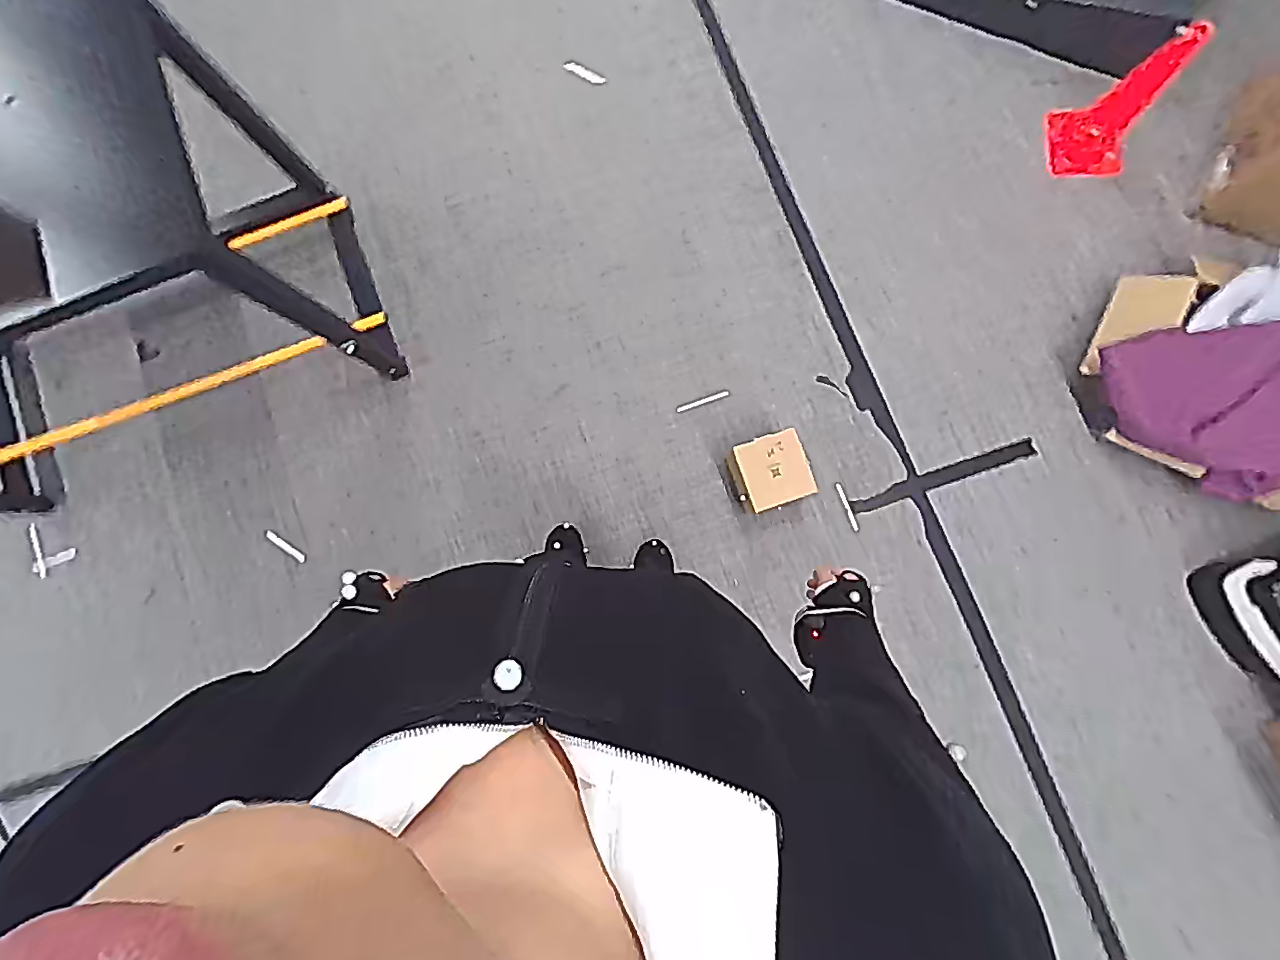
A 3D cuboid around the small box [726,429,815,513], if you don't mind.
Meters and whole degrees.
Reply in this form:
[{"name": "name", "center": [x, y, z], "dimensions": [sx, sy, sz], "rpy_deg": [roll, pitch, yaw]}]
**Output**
[{"name": "small box", "center": [0.338, -0.018, 1.430], "dimensions": [0.168, 0.176, 0.179], "rpy_deg": [-18, 83, 1]}]
